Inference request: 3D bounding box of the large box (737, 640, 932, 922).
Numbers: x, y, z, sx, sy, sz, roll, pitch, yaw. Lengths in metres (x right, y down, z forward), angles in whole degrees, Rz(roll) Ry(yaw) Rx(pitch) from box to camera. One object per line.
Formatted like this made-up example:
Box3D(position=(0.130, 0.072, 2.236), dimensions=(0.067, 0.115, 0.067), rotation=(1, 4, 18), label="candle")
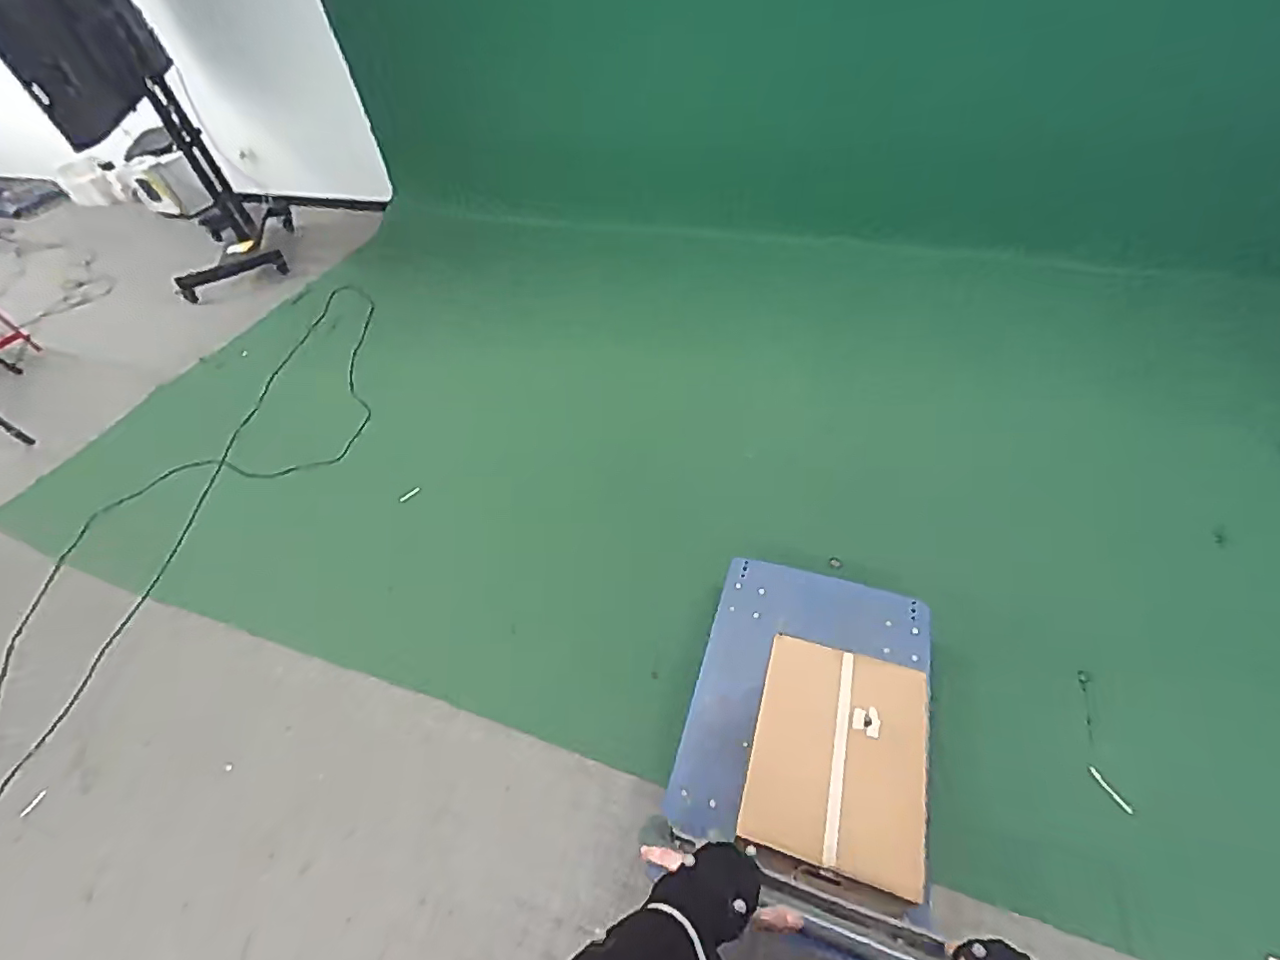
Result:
Box3D(position=(0.395, 0.621, 1.136), dimensions=(0.320, 0.320, 0.408), rotation=(12, 50, 15), label="large box")
